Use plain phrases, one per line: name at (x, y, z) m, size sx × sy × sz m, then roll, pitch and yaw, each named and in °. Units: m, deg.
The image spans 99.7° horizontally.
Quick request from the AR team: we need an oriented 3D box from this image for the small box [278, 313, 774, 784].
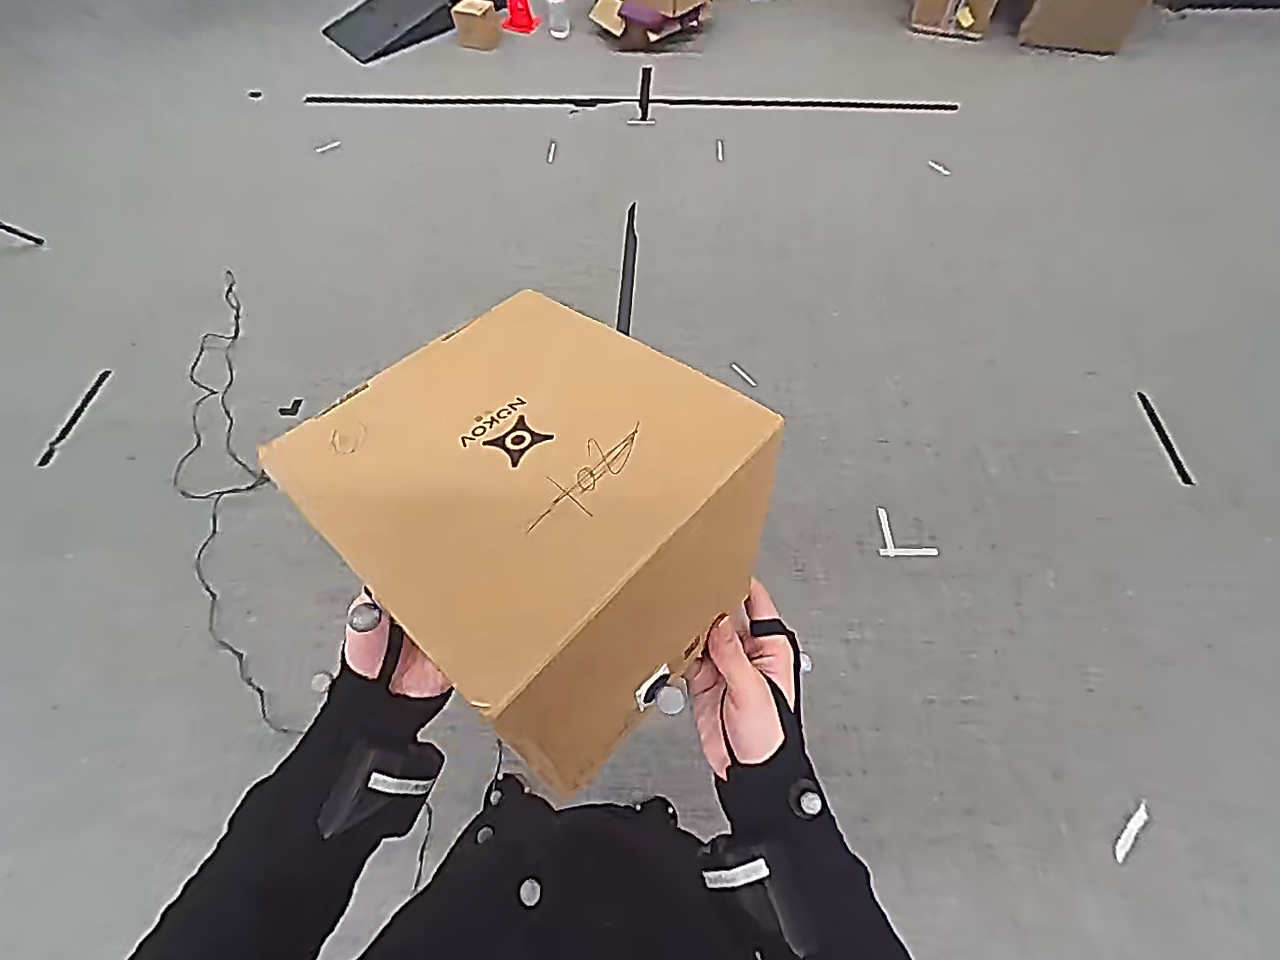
small box at (-0.049, 0.040, 0.311) m, size 0.179 × 0.176 × 0.168 m, roll 33°, pitch 62°, yaw 27°
